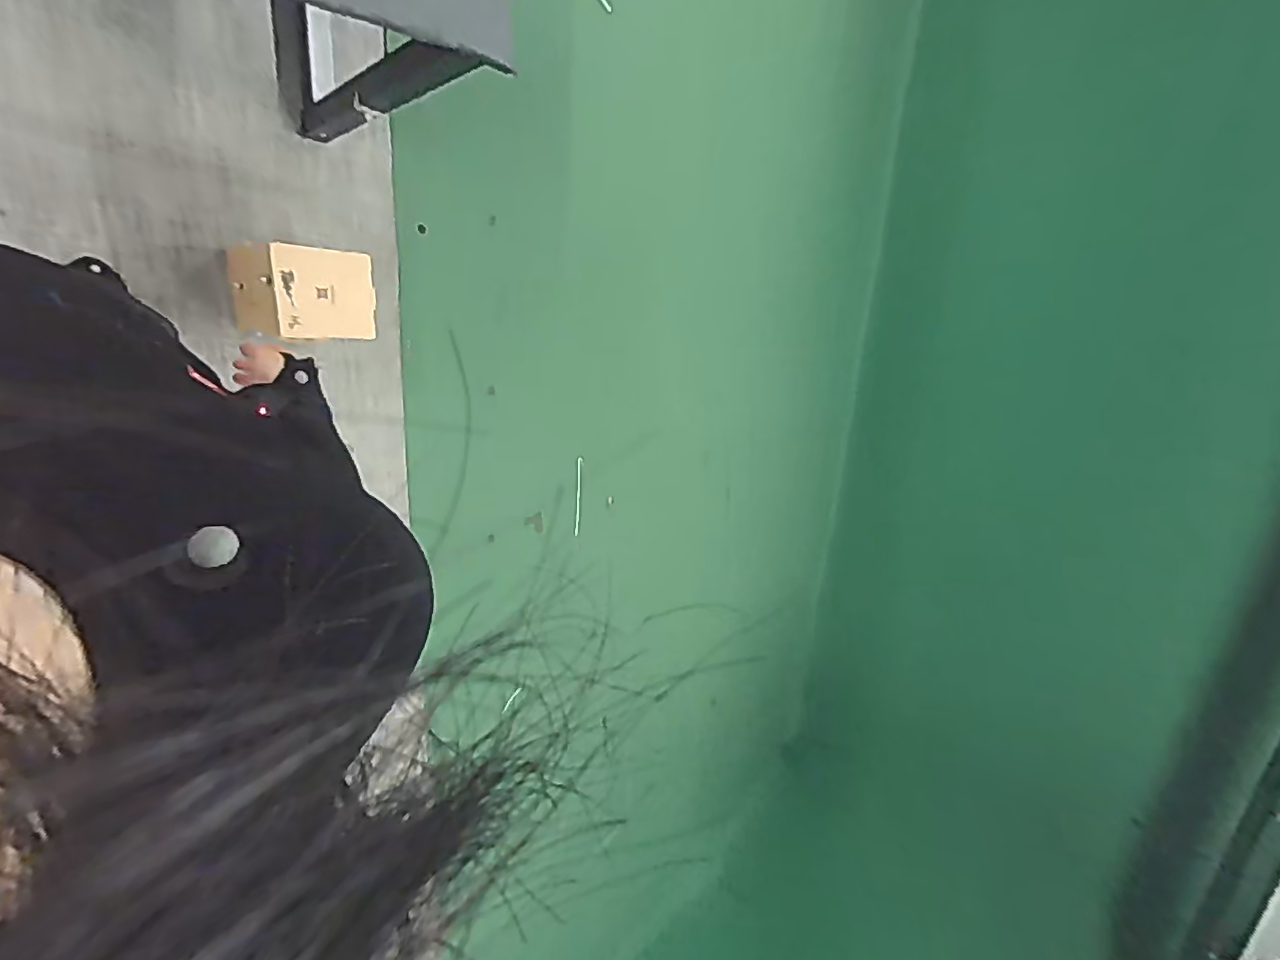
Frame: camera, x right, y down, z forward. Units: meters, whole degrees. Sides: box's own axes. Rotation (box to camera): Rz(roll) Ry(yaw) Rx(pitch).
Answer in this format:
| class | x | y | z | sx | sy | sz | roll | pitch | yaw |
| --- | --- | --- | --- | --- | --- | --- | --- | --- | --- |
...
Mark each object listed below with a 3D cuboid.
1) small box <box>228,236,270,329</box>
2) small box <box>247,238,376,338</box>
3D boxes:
| class | x | y | z | sx | sy | sz | roll | pitch | yaw |
| --- | --- | --- | --- | --- | --- | --- | --- | --- | --- |
| small box | -0.774 | -0.424 | 1.181 | 0.168 | 0.176 | 0.179 | -14 | 114 | -45 |
| small box | -0.652 | -0.382 | 1.078 | 0.179 | 0.176 | 0.168 | -11 | 114 | -46 |
